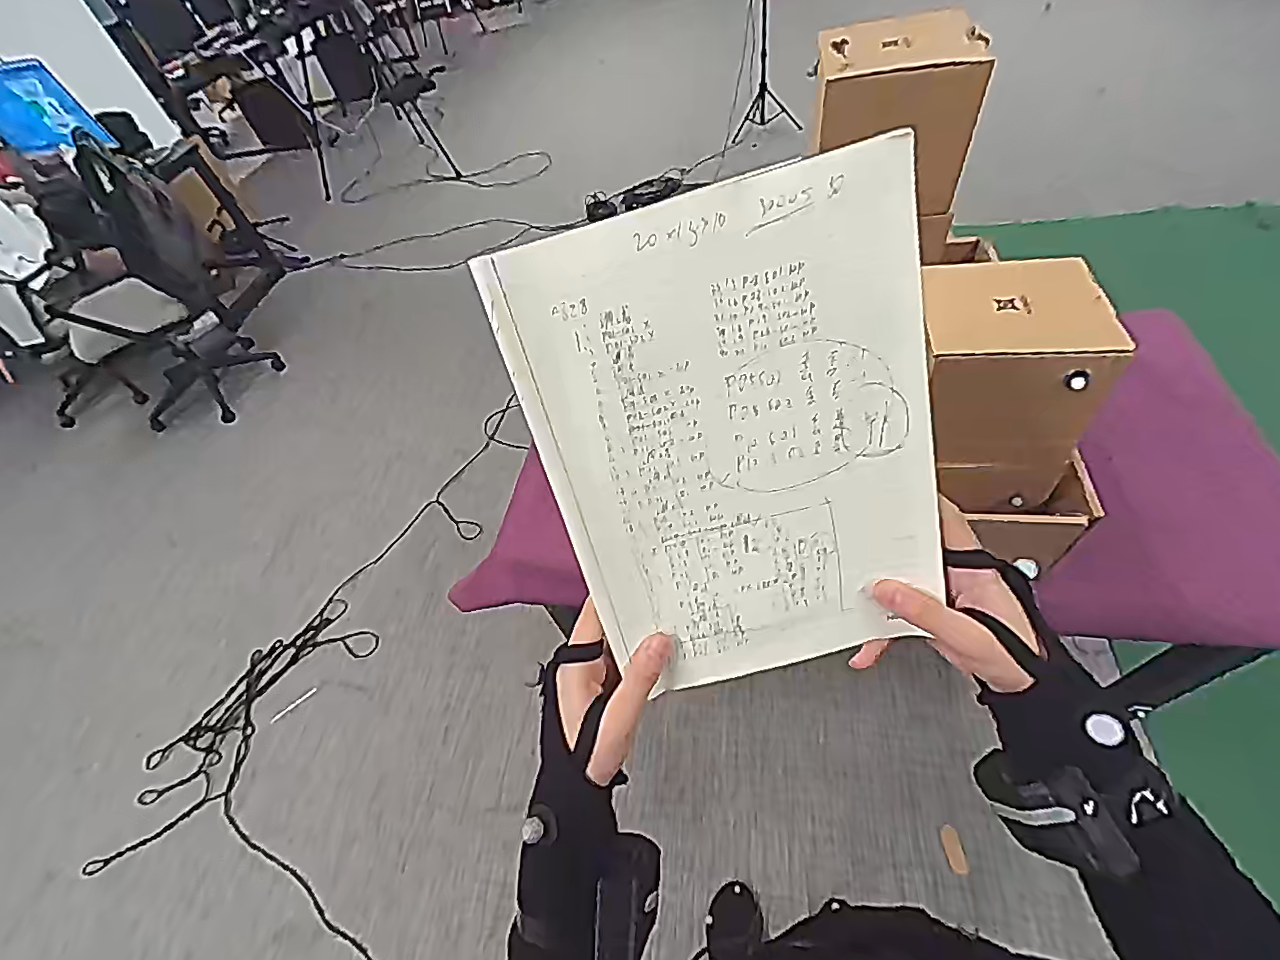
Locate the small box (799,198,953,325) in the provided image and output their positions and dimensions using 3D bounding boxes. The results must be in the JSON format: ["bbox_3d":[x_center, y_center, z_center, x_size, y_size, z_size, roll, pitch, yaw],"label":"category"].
[{"bbox_3d":[0.346,-0.357,0.830,0.179,0.176,0.168,0,53,11],"label":"small box"}]

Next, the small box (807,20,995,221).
[{"bbox_3d":[0.319,-0.459,0.704,0.179,0.176,0.168,2,53,11],"label":"small box"}]

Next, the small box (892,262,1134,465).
[{"bbox_3d":[0.405,-0.131,0.632,0.179,0.176,0.168,2,51,13],"label":"small box"}]
